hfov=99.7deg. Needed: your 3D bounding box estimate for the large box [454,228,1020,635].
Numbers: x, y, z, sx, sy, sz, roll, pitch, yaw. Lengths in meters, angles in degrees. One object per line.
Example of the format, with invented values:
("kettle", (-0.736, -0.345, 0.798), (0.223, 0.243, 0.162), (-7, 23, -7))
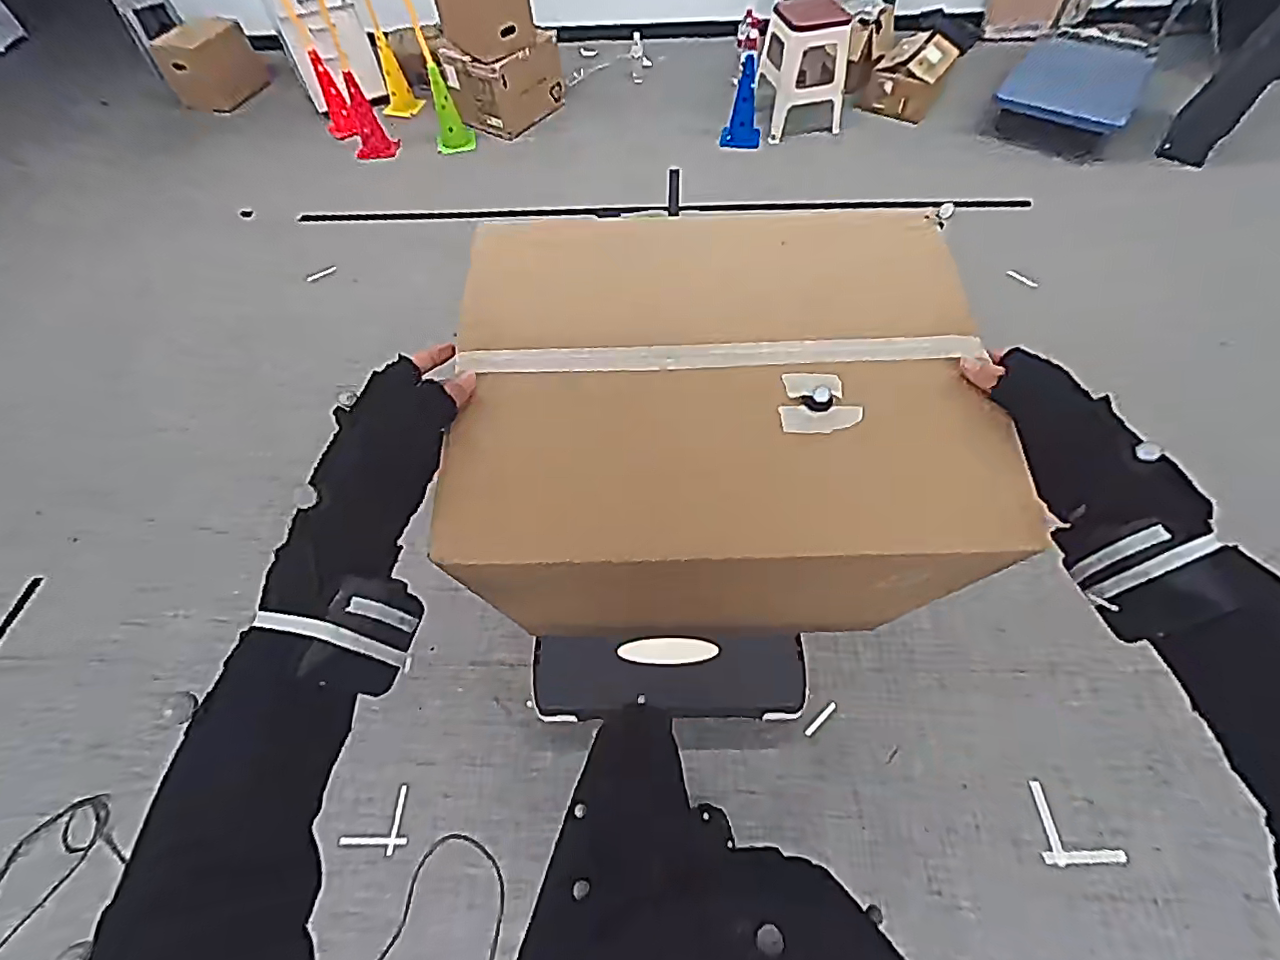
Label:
("large box", (0.062, -0.025, 0.569), (0.408, 0.320, 0.320), (-2, 66, 0))
